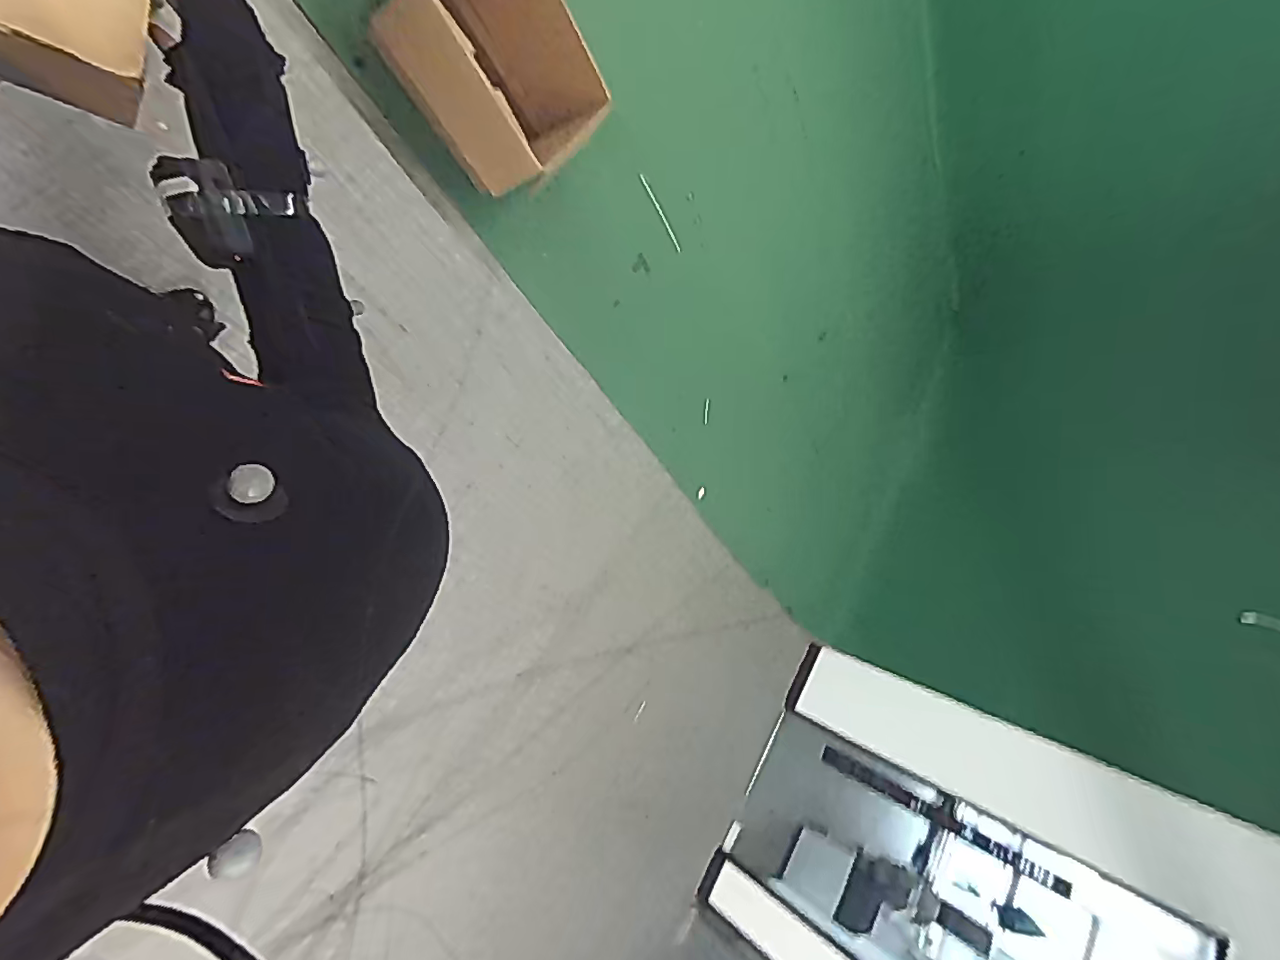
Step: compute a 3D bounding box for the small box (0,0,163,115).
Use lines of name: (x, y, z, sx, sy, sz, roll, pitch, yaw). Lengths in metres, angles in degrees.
small box: (-0.428, -0.388, 0.361, 0.168, 0.176, 0.179, 6, 102, -45)
